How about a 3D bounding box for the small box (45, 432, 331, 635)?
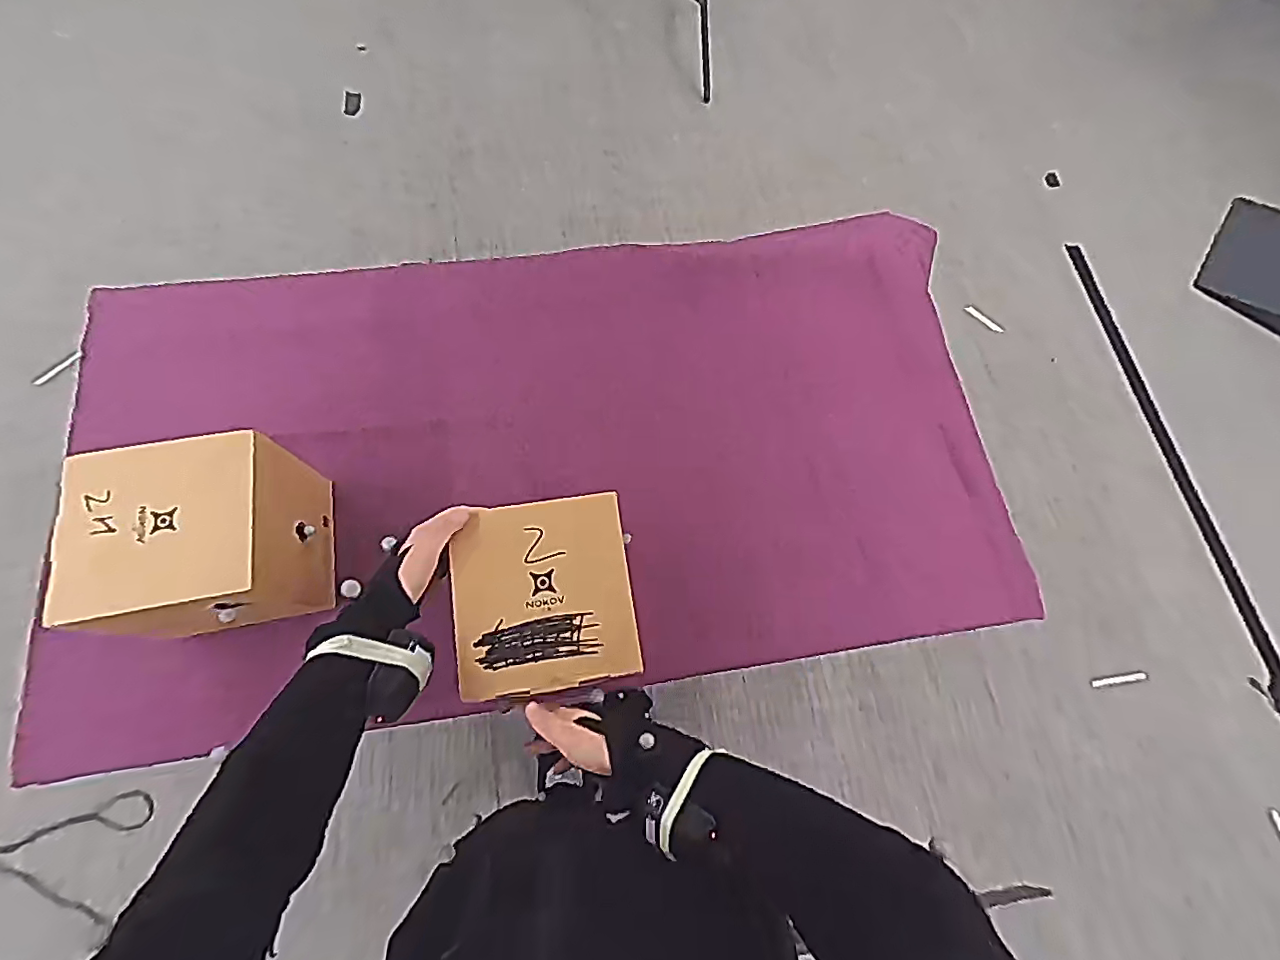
[{"bbox_3d":[-0.457,0.066,0.583,0.179,0.176,0.168,-10,71,-7],"label":"small box"}]
